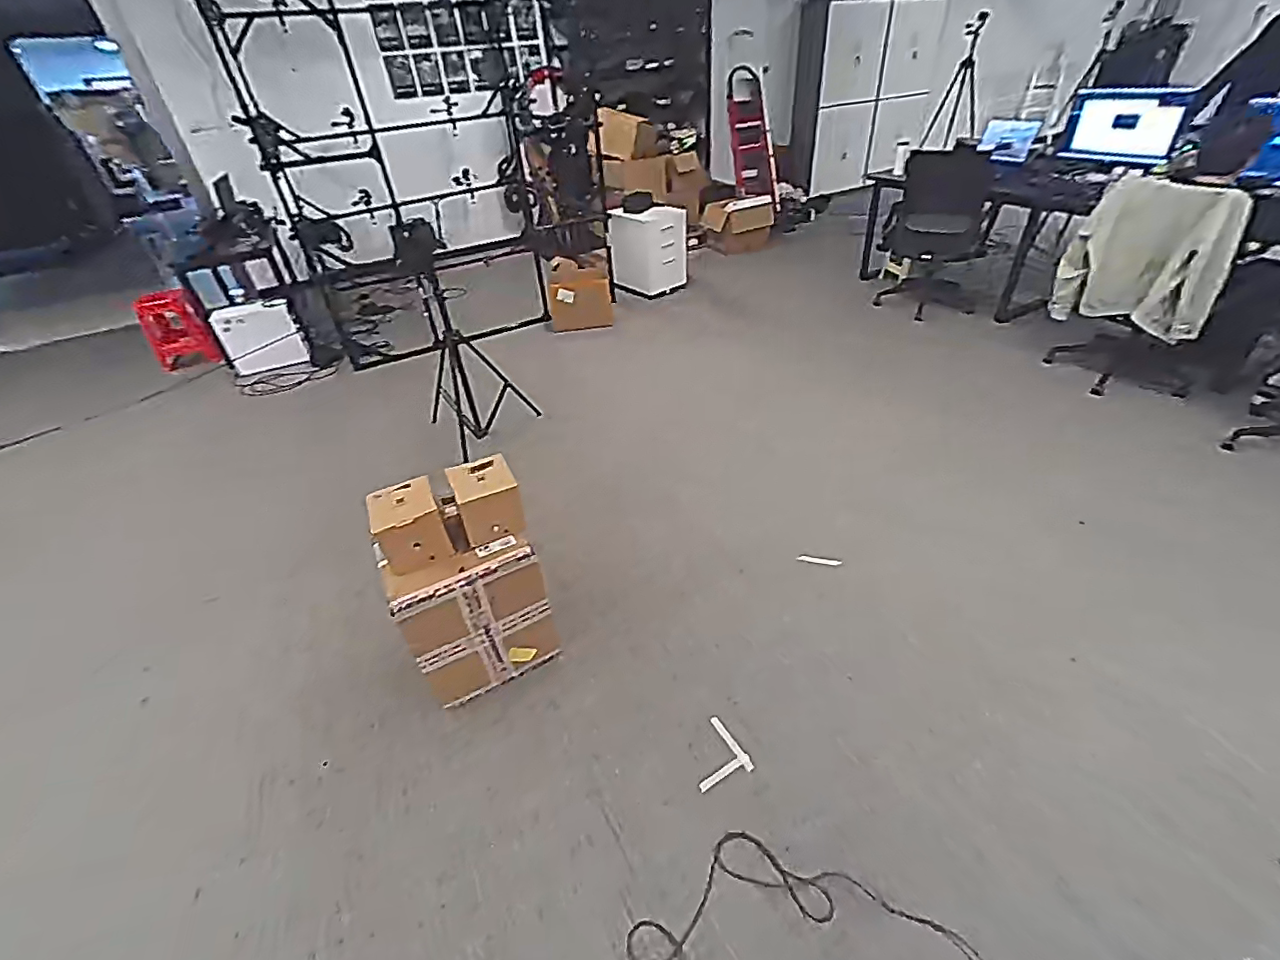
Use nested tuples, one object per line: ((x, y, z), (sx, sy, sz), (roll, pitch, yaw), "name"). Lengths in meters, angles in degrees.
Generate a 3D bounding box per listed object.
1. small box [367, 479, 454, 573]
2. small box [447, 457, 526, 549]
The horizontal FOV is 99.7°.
((-0.626, 0.132, 1.483), (0.168, 0.176, 0.179), (-21, 42, -17), "small box")
((-0.439, 0.066, 1.550), (0.168, 0.176, 0.179), (-19, 42, -20), "small box")
